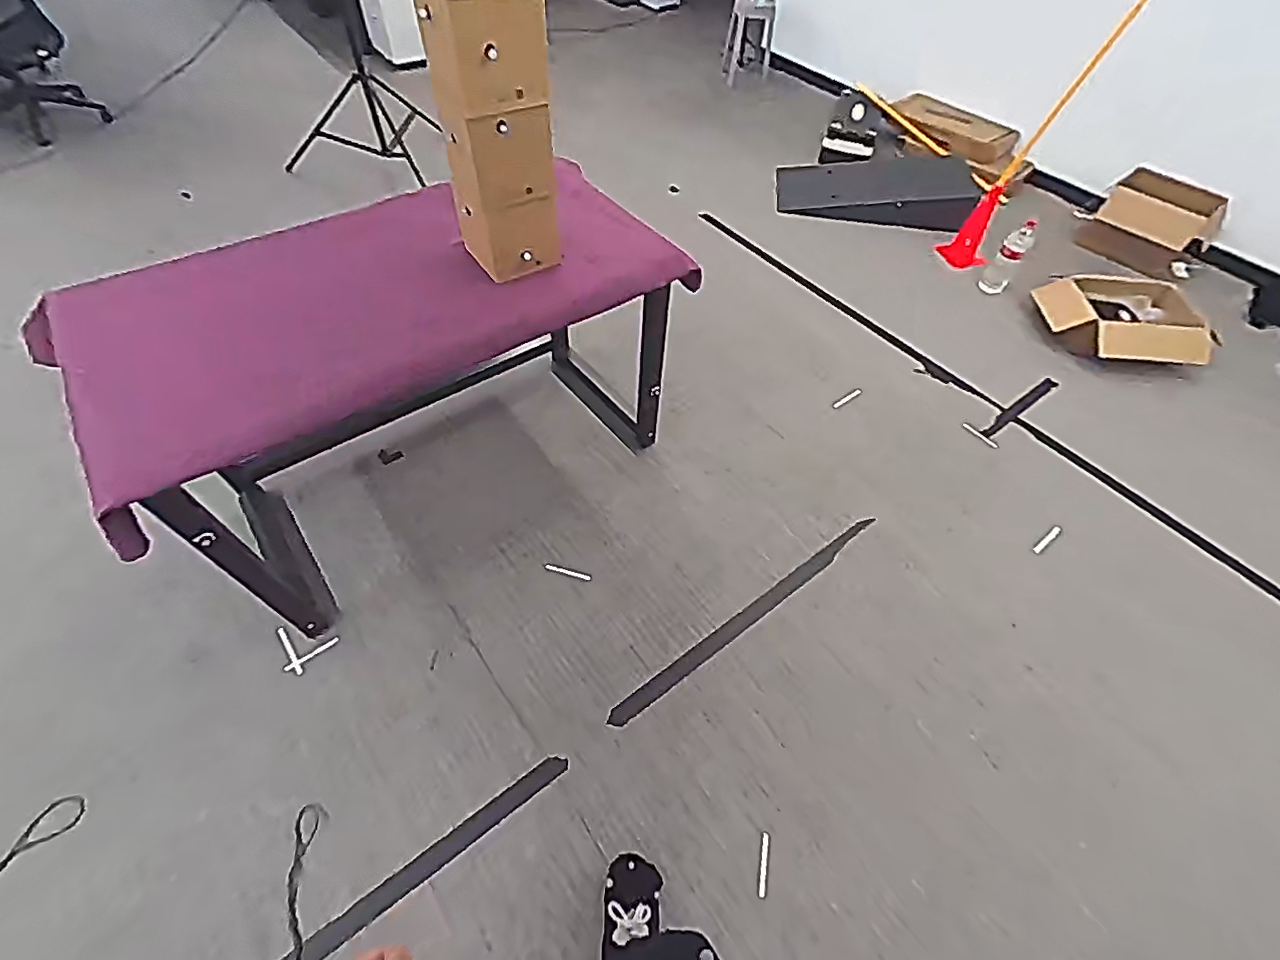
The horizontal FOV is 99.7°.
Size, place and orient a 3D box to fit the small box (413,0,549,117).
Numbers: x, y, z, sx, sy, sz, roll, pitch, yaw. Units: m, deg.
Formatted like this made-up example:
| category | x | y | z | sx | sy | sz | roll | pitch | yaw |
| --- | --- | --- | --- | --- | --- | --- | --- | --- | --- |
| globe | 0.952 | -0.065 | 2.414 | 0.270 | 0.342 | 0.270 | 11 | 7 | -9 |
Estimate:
| category | x | y | z | sx | sy | sz | roll | pitch | yaw |
| --- | --- | --- | --- | --- | --- | --- | --- | --- | --- |
| small box | -0.271 | -0.756 | 0.940 | 0.168 | 0.176 | 0.179 | -27 | 59 | -20 |

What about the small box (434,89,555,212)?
| category | x | y | z | sx | sy | sz | roll | pitch | yaw |
| --- | --- | --- | --- | --- | --- | --- | --- | --- | --- |
| small box | -0.283 | -0.664 | 1.075 | 0.168 | 0.176 | 0.179 | -26 | 59 | -20 |

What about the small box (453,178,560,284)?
| category | x | y | z | sx | sy | sz | roll | pitch | yaw |
| --- | --- | --- | --- | --- | --- | --- | --- | --- | --- |
| small box | -0.293 | -0.572 | 1.210 | 0.168 | 0.176 | 0.179 | -28 | 61 | -21 |
